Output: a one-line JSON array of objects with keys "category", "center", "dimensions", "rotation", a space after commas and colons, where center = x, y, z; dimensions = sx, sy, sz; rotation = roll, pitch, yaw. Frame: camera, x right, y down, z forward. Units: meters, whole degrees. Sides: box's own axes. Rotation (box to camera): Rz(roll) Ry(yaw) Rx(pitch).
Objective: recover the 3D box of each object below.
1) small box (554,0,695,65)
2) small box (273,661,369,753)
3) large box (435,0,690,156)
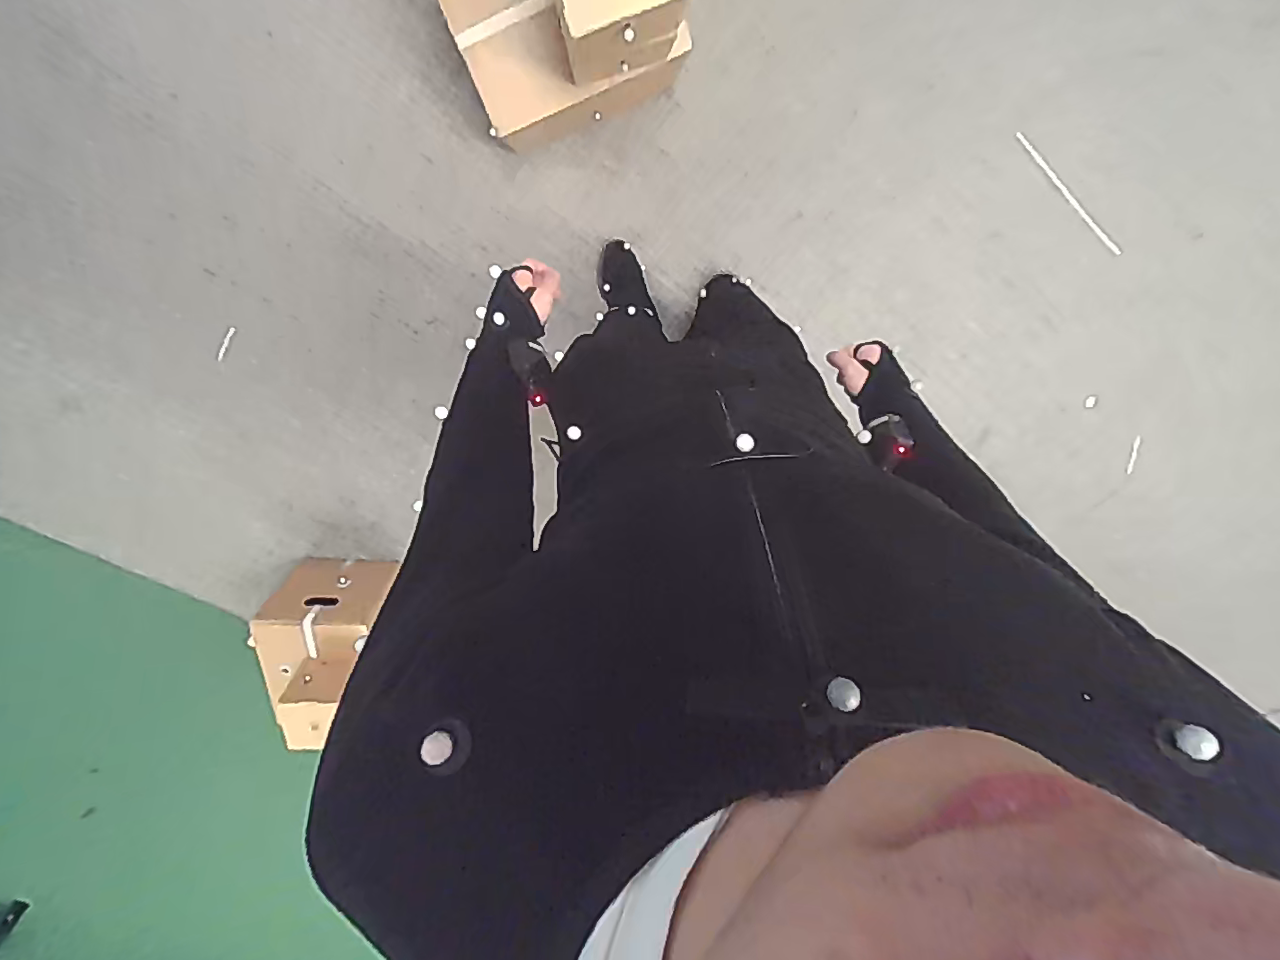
[{"category": "small box", "center": [-0.038, -0.704, 0.736], "dimensions": [0.179, 0.176, 0.168], "rotation": [-17, 117, 5]}, {"category": "small box", "center": [-0.865, 0.617, 1.485], "dimensions": [0.168, 0.176, 0.179], "rotation": [3, 116, -7]}, {"category": "large box", "center": [-0.151, -0.907, 1.084], "dimensions": [0.408, 0.320, 0.320], "rotation": [-21, 115, 7]}]
